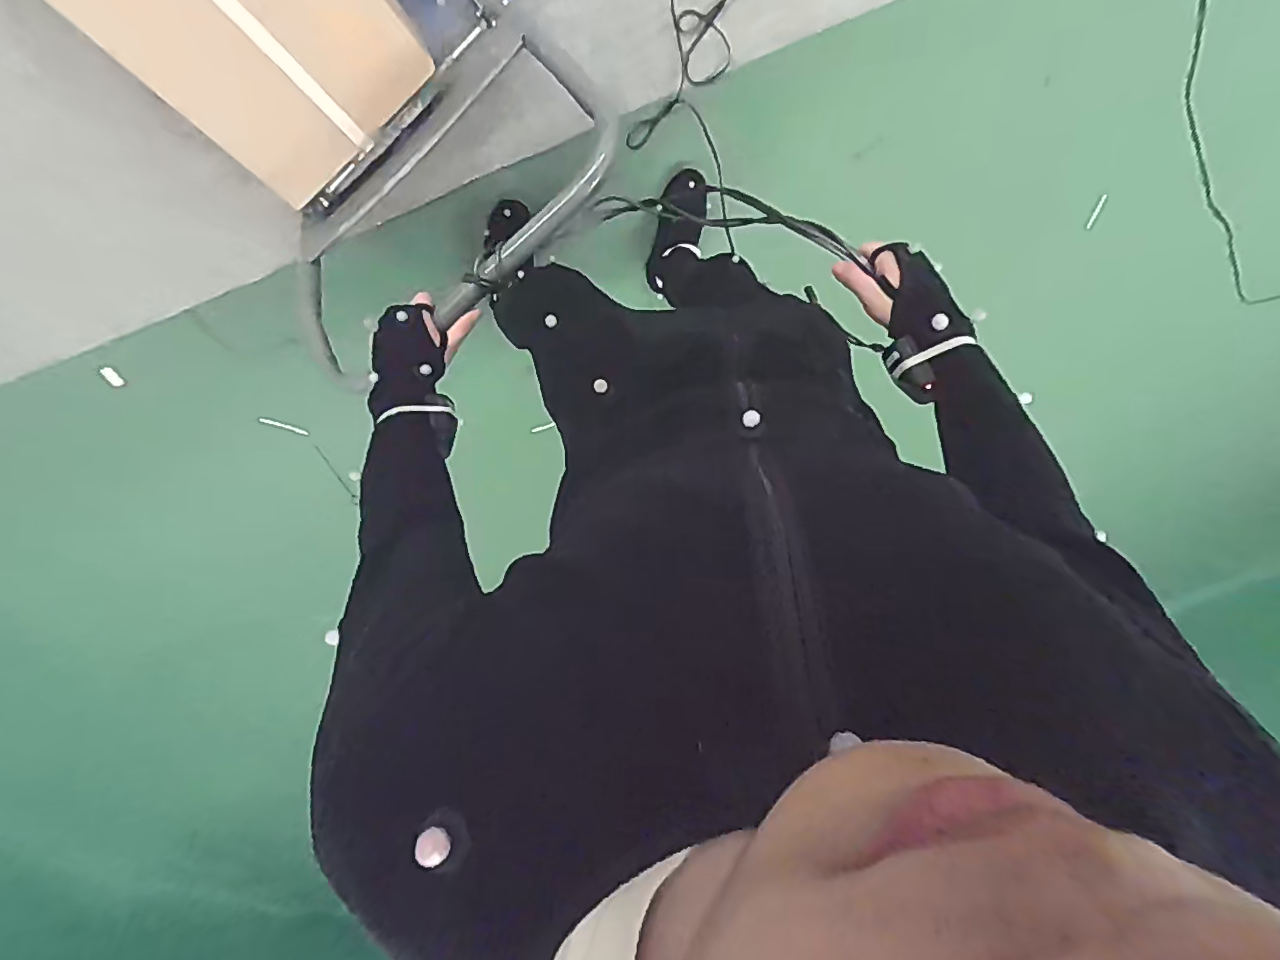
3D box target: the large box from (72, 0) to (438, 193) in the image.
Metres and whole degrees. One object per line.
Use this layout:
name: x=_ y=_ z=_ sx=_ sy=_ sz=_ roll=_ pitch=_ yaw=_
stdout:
large box: x=-0.554 y=-0.720 z=0.766 sx=0.320 sy=0.320 sz=0.408 roll=-35 pitch=137 yaw=12
